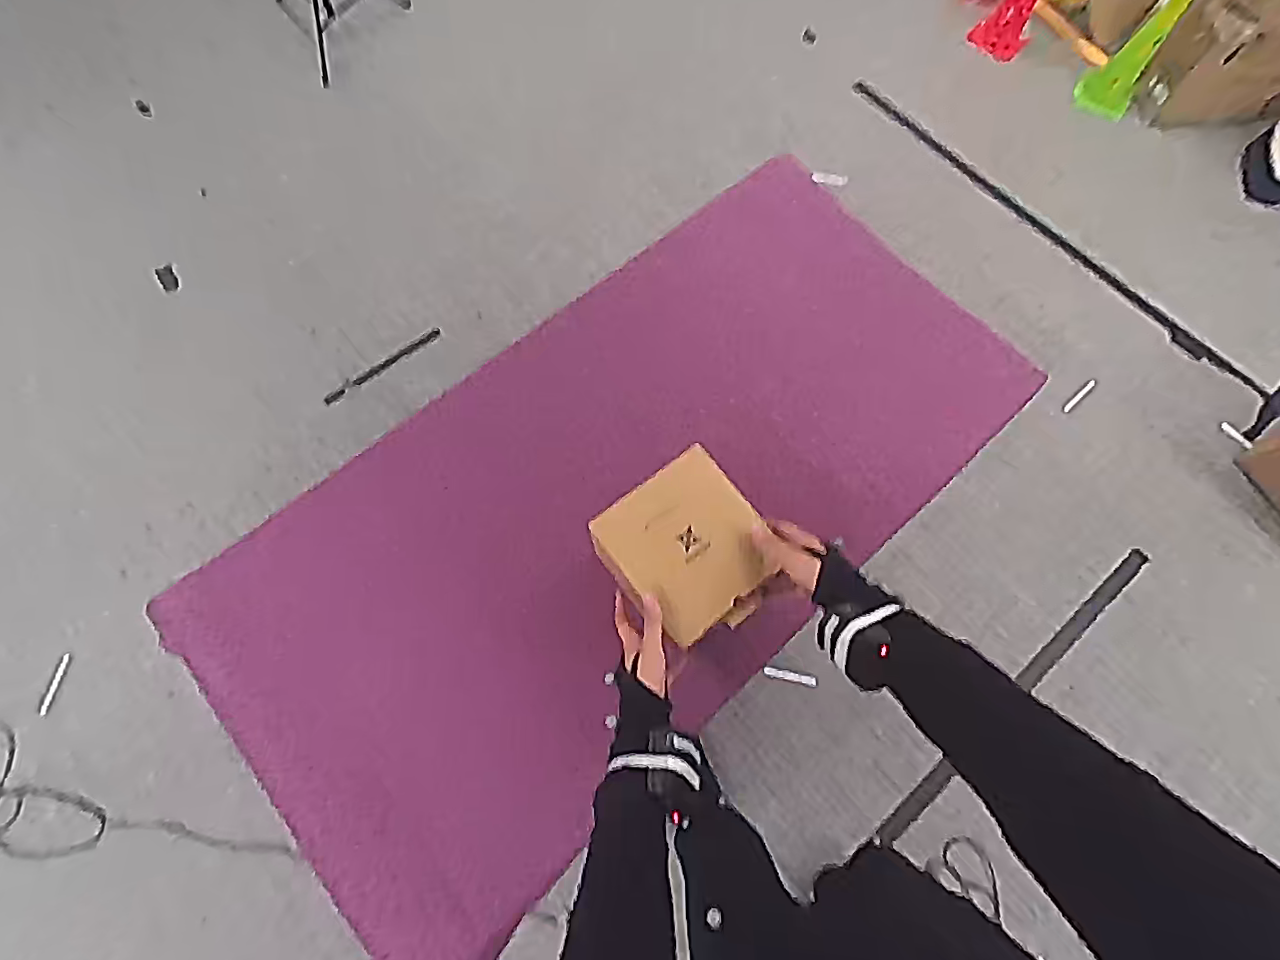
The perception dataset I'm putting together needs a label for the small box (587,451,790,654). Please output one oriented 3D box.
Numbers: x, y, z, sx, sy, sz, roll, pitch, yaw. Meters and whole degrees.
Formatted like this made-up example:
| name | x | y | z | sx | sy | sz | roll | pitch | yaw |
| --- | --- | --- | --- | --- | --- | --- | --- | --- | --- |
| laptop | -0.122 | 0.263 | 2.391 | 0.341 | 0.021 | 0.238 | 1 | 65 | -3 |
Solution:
| name | x | y | z | sx | sy | sz | roll | pitch | yaw |
| --- | --- | --- | --- | --- | --- | --- | --- | --- | --- |
| small box | 0.053 | 0.097 | 0.685 | 0.168 | 0.176 | 0.179 | -36 | 77 | -12 |
